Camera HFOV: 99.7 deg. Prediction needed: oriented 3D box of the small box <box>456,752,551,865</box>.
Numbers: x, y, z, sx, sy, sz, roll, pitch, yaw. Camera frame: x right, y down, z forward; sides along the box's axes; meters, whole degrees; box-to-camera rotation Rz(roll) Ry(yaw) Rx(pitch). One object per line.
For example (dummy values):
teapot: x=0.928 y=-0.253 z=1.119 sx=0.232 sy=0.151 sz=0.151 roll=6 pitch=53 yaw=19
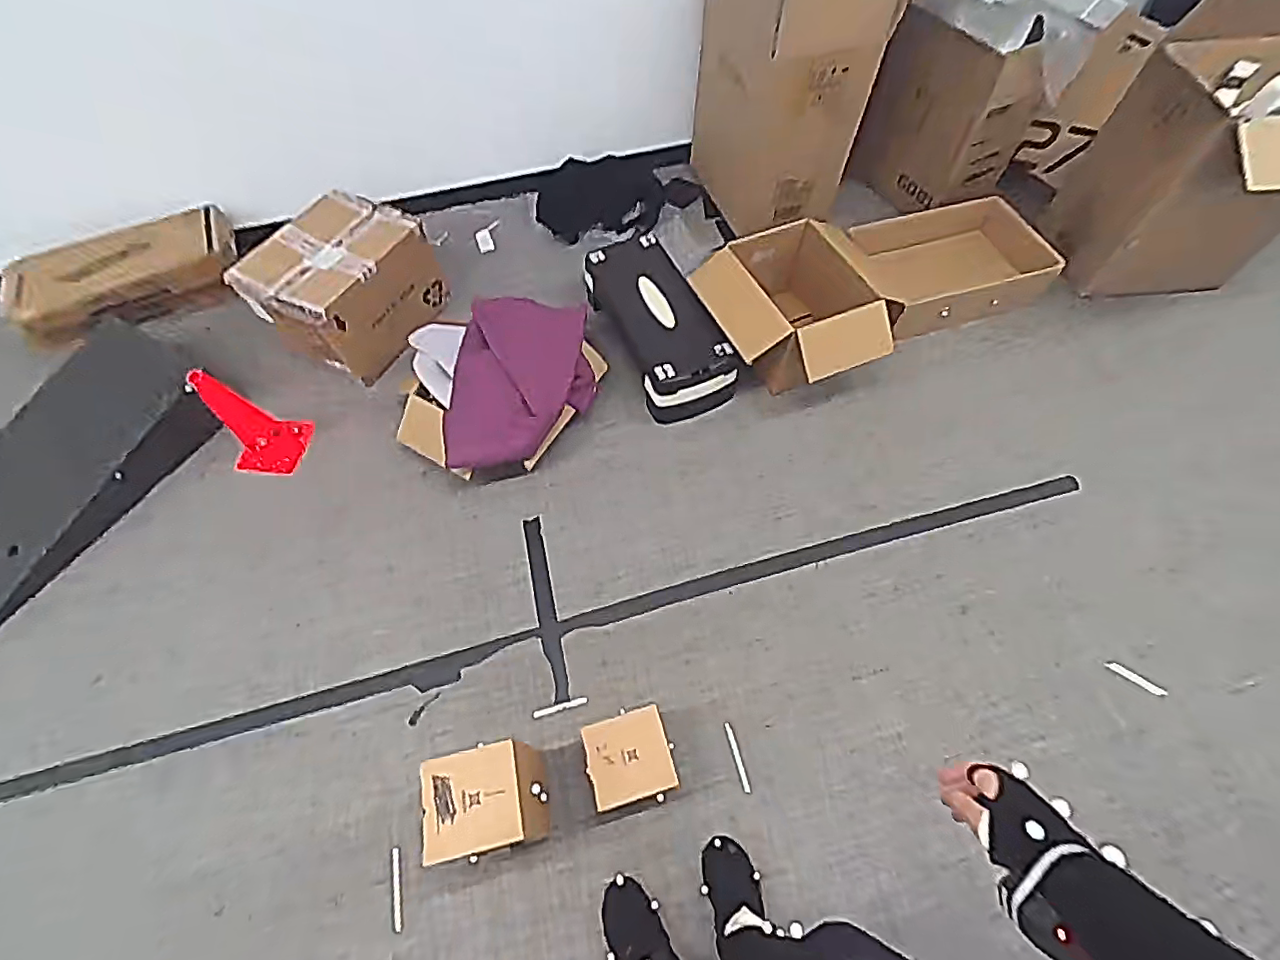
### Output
small box: x=-0.297 y=0.700 z=1.173 sx=0.168 sy=0.176 sz=0.179 roll=-12 pitch=62 yaw=-5

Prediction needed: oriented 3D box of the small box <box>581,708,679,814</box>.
small box: x=-0.023 y=0.623 z=1.207 sx=0.179 sy=0.176 sz=0.168 roll=-15 pitch=62 yaw=-6

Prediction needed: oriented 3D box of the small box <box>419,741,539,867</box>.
small box: x=-0.302 y=0.613 z=1.032 sx=0.179 sy=0.176 sz=0.168 roll=-12 pitch=61 yaw=-6
